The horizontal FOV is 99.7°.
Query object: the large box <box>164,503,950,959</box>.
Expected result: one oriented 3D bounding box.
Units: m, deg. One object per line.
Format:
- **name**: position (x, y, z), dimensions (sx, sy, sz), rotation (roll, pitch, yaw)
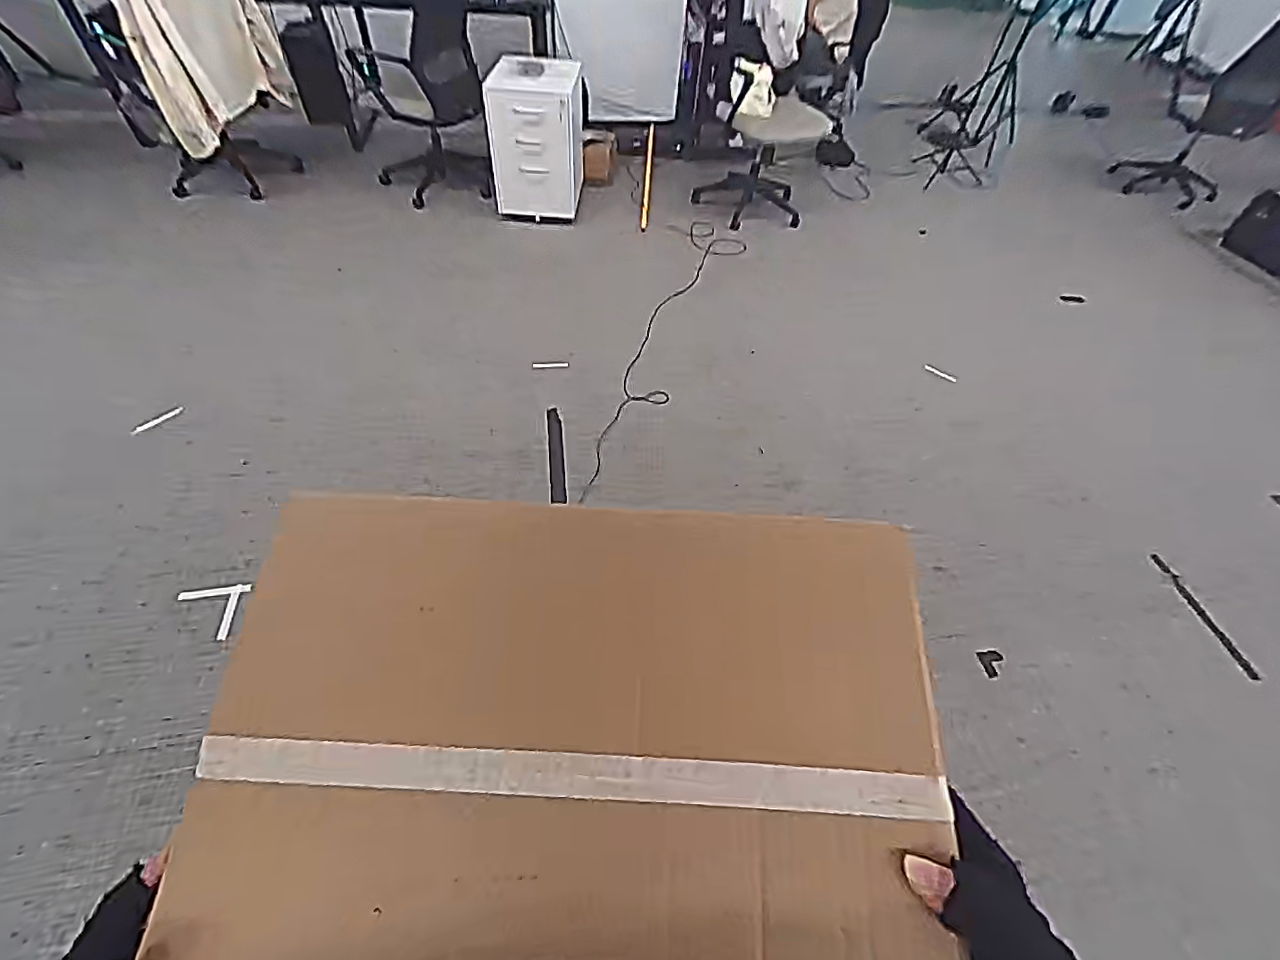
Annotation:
- **large box**: position (-0.038, 0.223, 0.442), dimensions (0.408, 0.320, 0.320), rotation (3, 68, 1)
